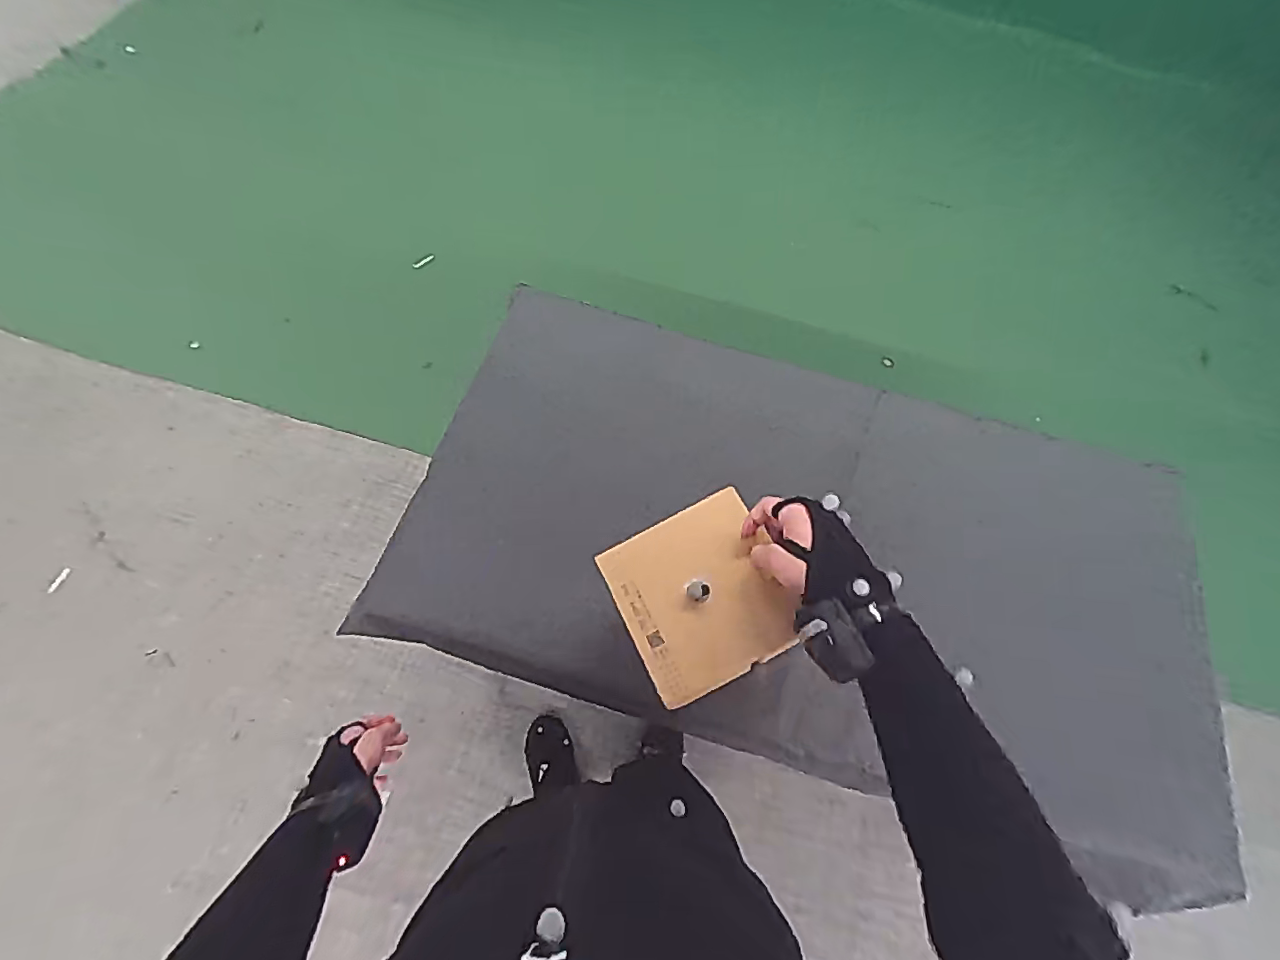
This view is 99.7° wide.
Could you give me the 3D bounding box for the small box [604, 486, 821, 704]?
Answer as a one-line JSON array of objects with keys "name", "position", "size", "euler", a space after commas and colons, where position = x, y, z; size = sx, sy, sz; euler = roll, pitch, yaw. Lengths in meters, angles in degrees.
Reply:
[{"name": "small box", "position": [0.075, 0.138, 0.619], "size": [0.176, 0.179, 0.168], "euler": [-30, 69, -4]}]
